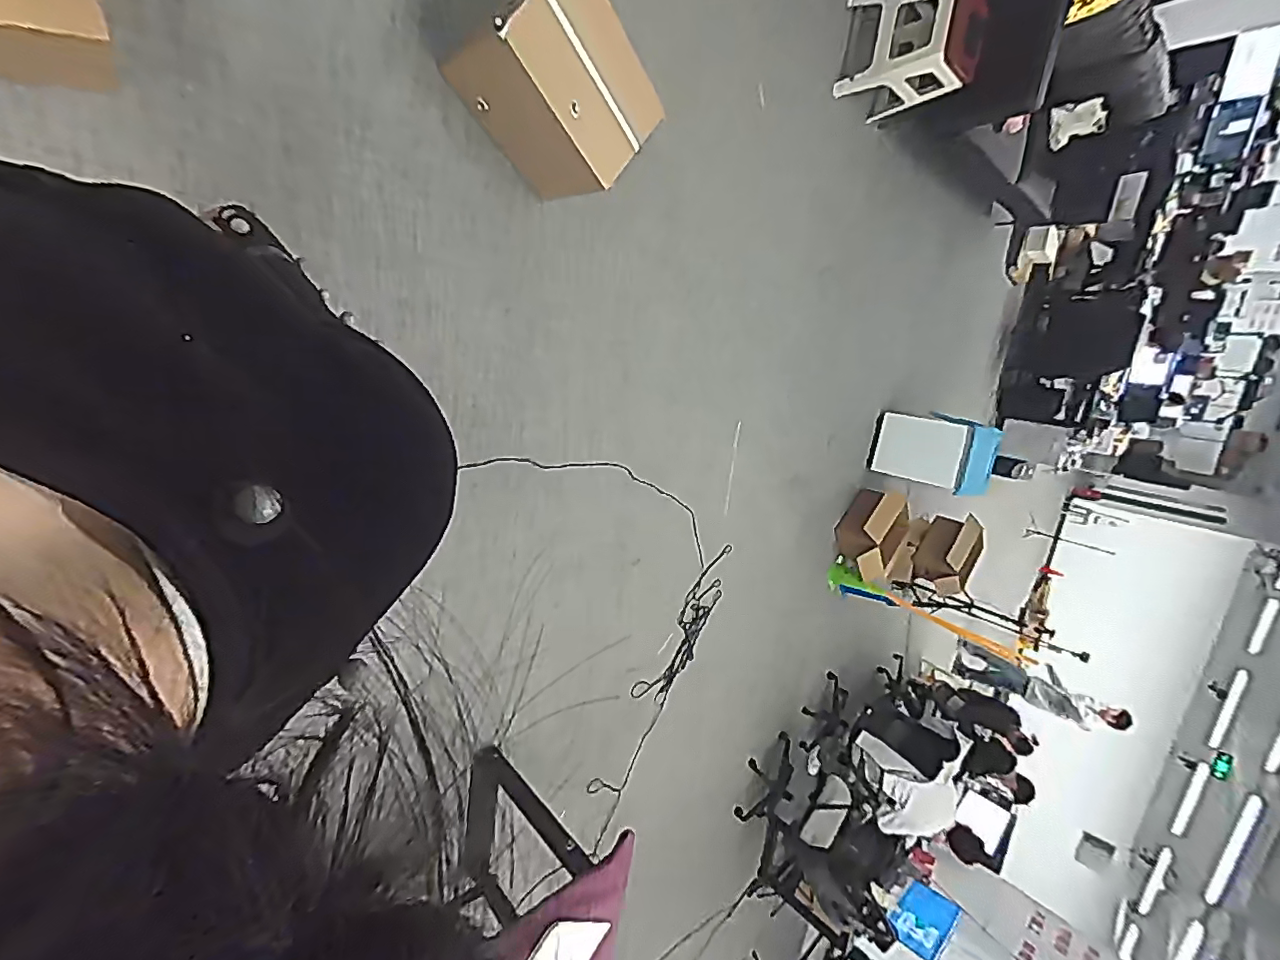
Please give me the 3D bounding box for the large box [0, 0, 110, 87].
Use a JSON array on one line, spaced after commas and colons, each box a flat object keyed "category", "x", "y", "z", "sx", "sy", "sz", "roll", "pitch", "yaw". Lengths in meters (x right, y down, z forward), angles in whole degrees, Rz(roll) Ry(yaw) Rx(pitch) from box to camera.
[{"category": "large box", "x": -1.029, "y": -0.758, "z": 0.713, "sx": 0.408, "sy": 0.320, "sz": 0.320, "roll": -21, "pitch": 117, "yaw": -37}]
